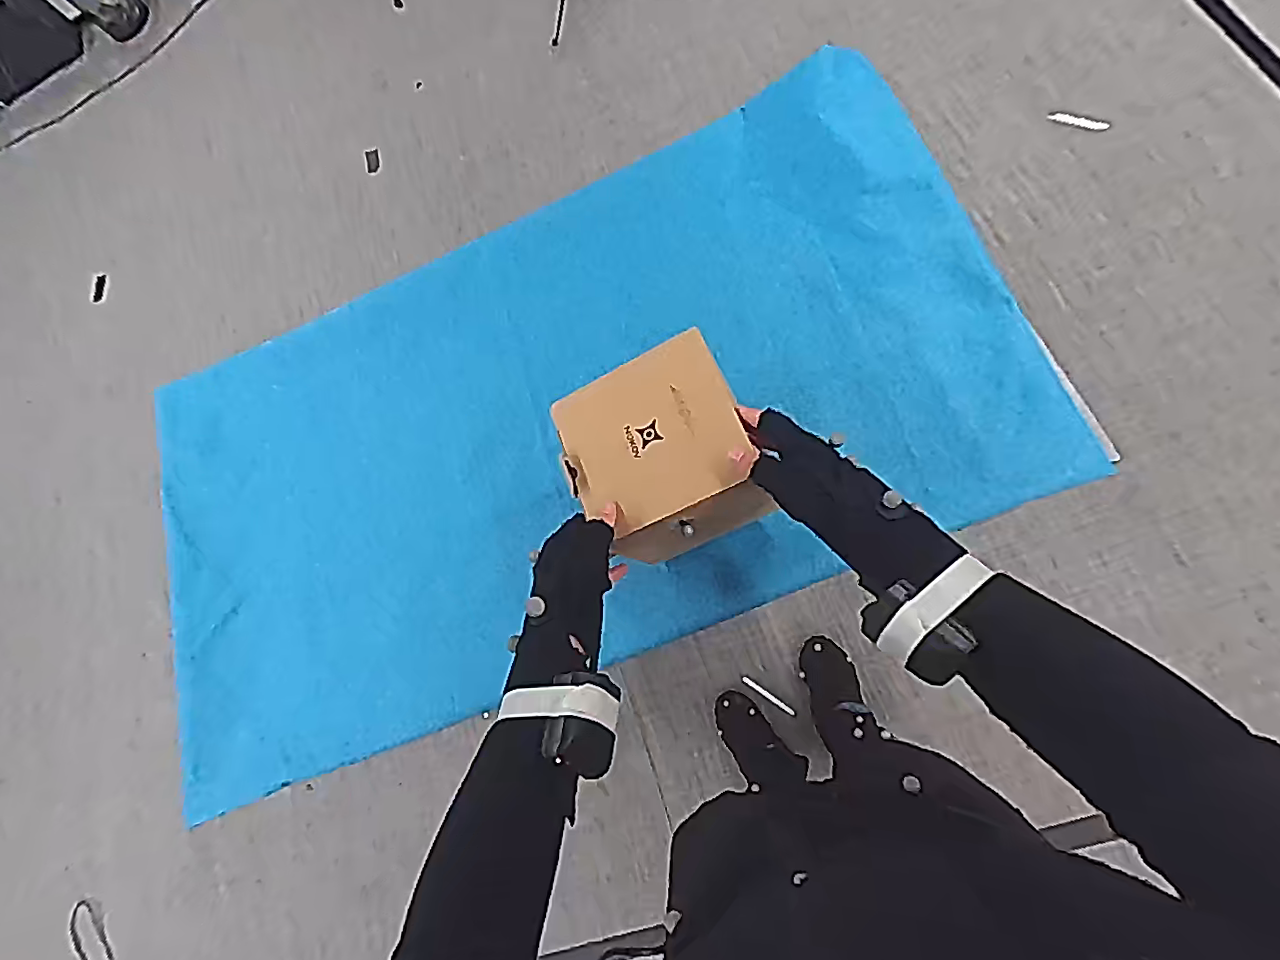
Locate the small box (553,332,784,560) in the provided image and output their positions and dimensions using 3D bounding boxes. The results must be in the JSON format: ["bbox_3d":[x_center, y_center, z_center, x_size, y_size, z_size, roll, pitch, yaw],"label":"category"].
[{"bbox_3d":[0.037,-0.021,0.590,0.179,0.176,0.168,-26,69,15],"label":"small box"}]
